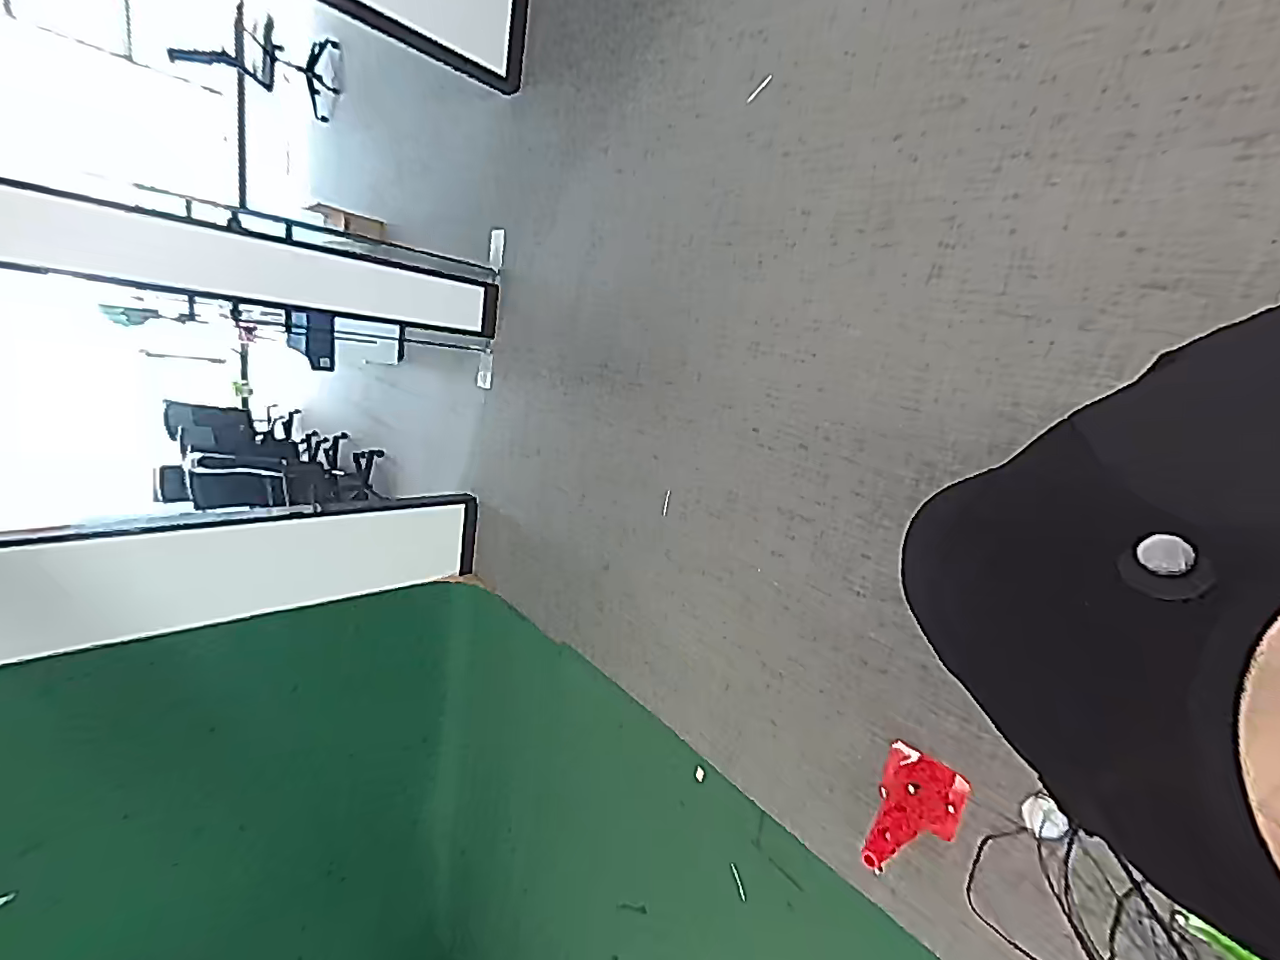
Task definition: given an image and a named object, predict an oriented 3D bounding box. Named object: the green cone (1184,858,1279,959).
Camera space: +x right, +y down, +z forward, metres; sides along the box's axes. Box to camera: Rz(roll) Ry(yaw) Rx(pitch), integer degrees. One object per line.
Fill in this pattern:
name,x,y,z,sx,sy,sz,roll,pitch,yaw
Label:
green cone,1.080,0.865,0.903,0.200,0.368,0.202,26,110,41
